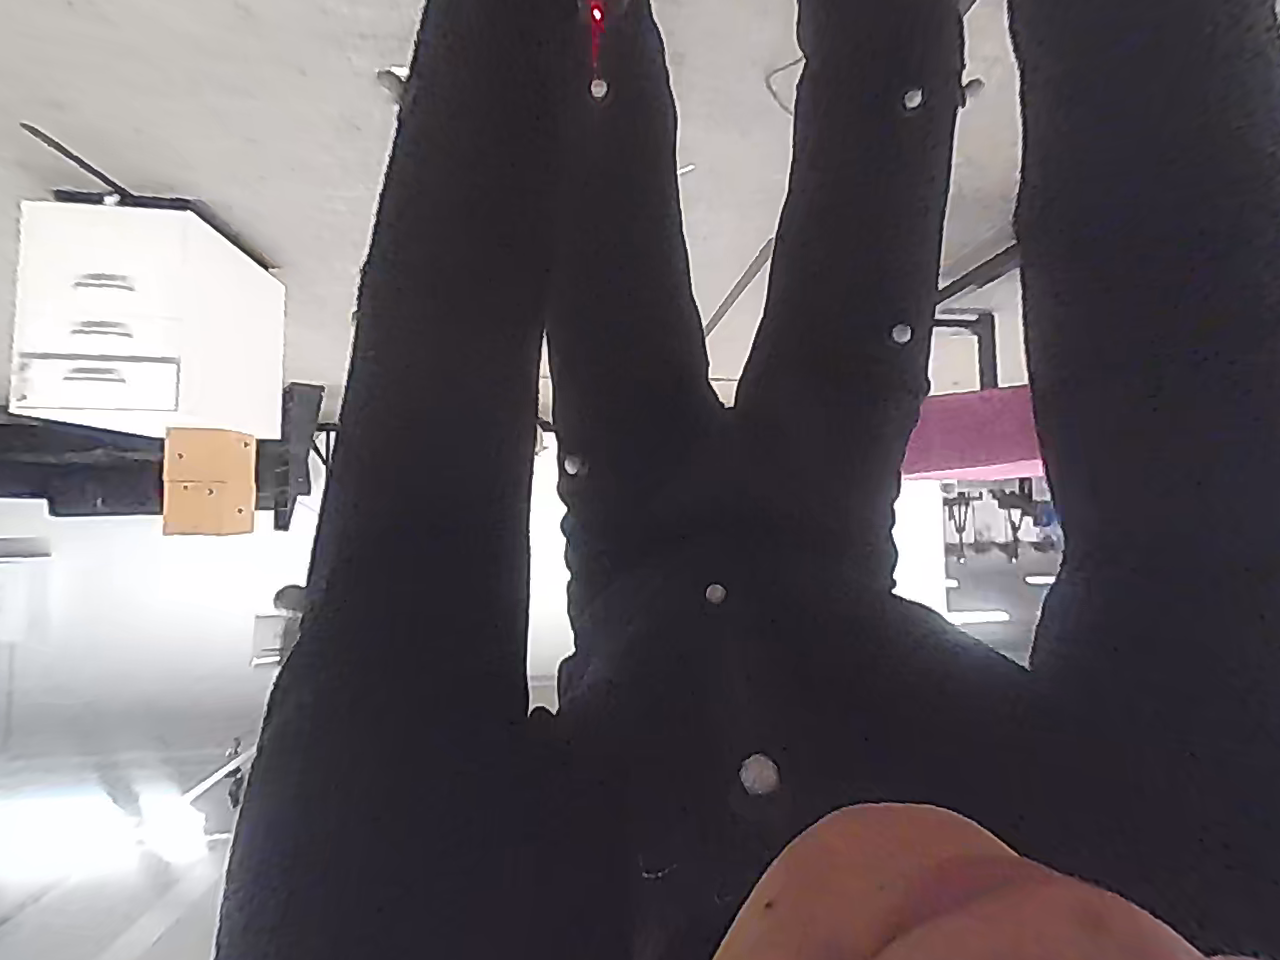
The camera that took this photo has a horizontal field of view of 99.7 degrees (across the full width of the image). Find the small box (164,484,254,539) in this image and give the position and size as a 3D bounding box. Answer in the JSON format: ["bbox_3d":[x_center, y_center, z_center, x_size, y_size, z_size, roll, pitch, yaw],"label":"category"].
[{"bbox_3d":[-1.375,0.097,1.733,0.168,0.176,0.179,1,179,-5],"label":"small box"}]

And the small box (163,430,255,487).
[{"bbox_3d":[-1.374,-0.067,1.735,0.179,0.176,0.168,1,177,-10],"label":"small box"}]
